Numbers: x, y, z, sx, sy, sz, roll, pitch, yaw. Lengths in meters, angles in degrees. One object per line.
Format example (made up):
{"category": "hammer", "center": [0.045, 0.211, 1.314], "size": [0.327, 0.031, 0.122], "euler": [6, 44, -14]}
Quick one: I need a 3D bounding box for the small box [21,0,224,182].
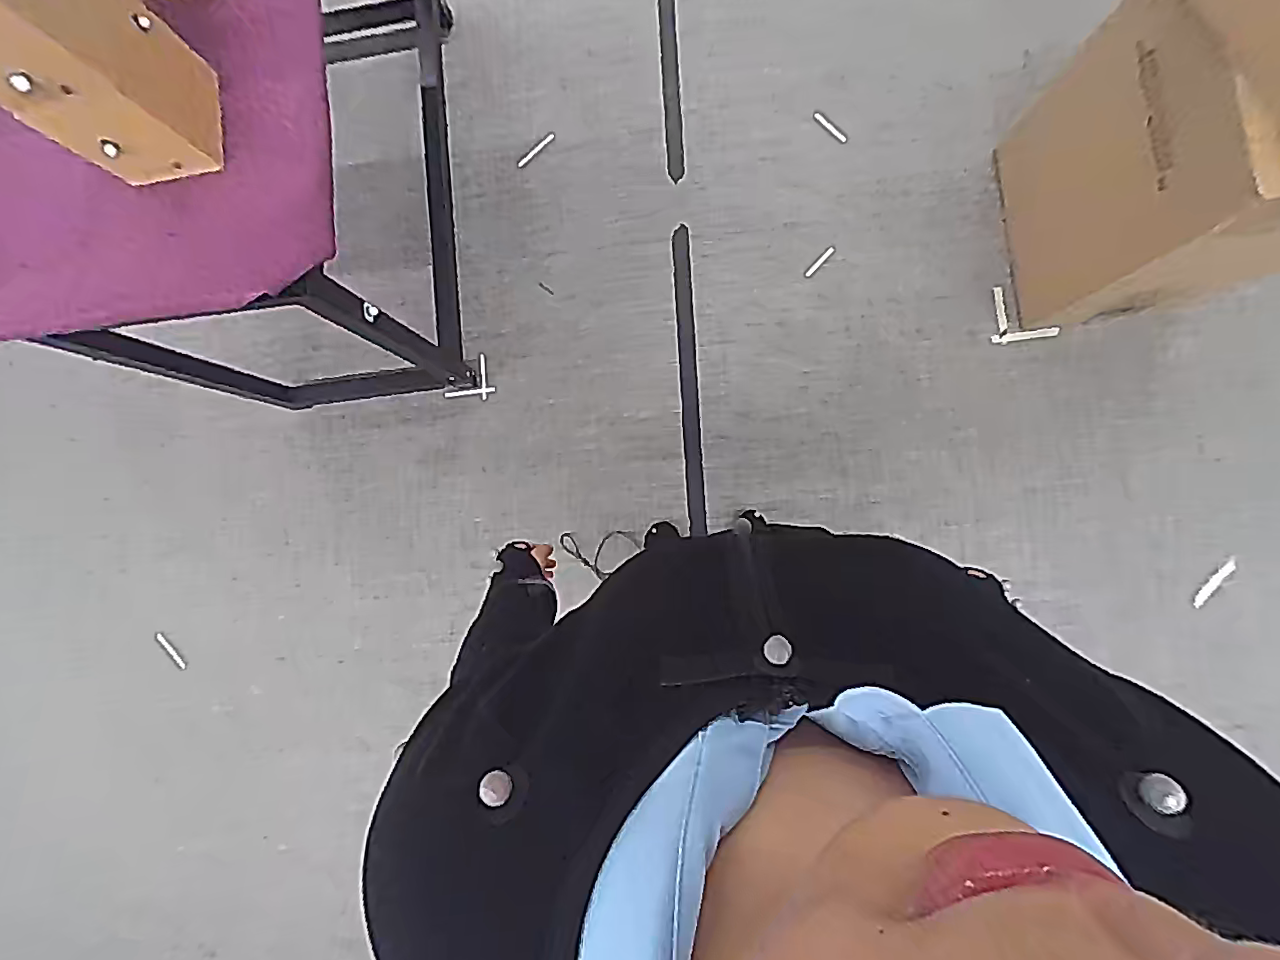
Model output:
{"category": "small box", "center": [-0.781, -0.587, 0.828], "size": [0.168, 0.176, 0.179], "euler": [-8, 85, 5]}

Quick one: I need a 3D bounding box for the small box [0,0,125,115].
{"category": "small box", "center": [-0.791, -0.600, 0.665], "size": [0.168, 0.176, 0.179], "euler": [-8, 86, 5]}
